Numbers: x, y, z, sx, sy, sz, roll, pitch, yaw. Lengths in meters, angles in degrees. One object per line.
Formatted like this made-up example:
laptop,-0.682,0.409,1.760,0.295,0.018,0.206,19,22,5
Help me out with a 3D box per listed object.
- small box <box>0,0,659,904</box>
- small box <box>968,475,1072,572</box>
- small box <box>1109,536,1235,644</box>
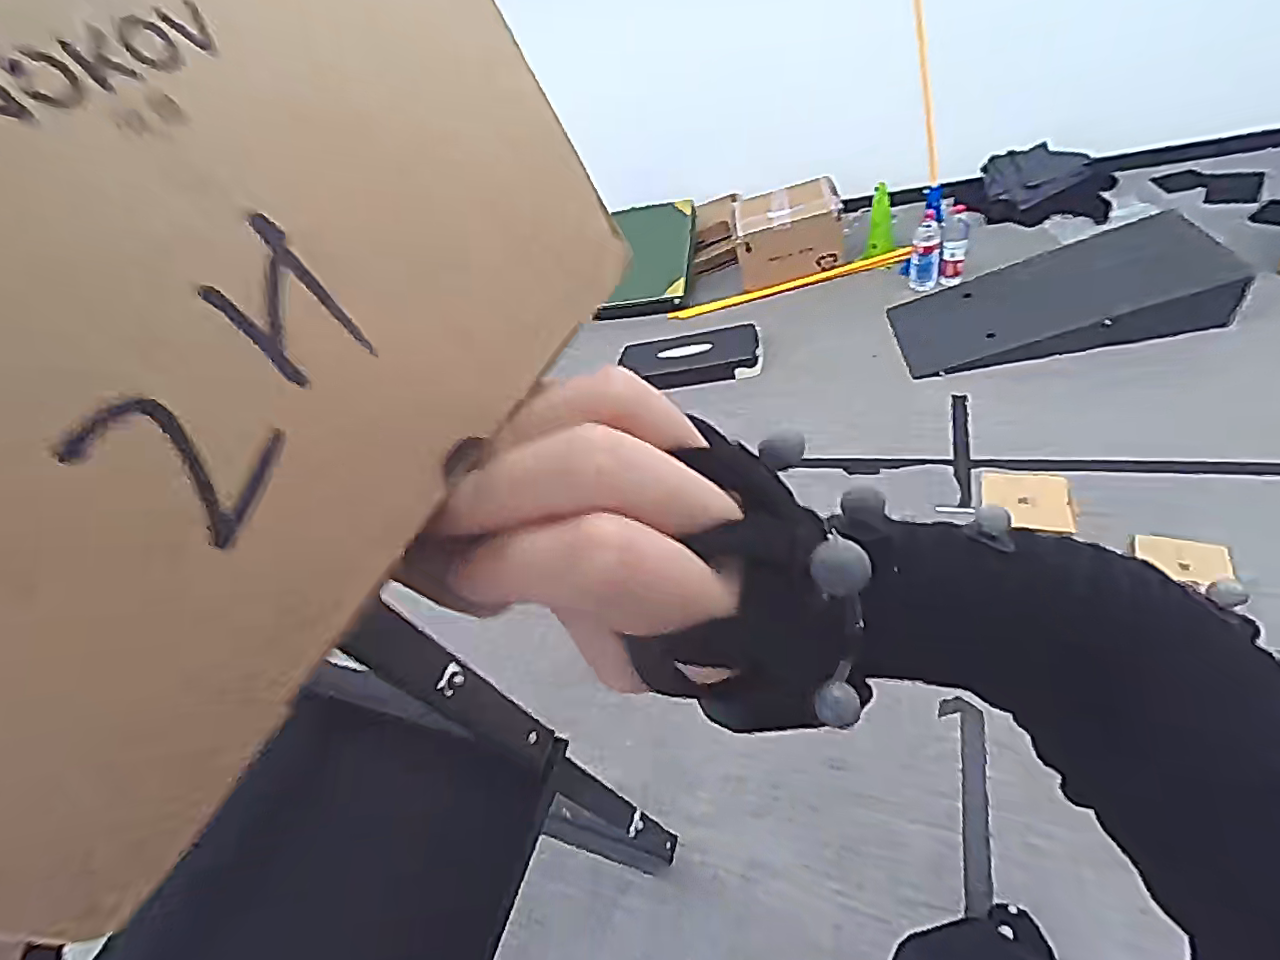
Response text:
small box,-0.130,-0.061,0.113,0.176,0.179,0.168,-3,44,38
small box,0.916,0.108,1.319,0.179,0.176,0.168,3,50,26
small box,1.243,0.261,1.279,0.168,0.176,0.179,8,52,28
